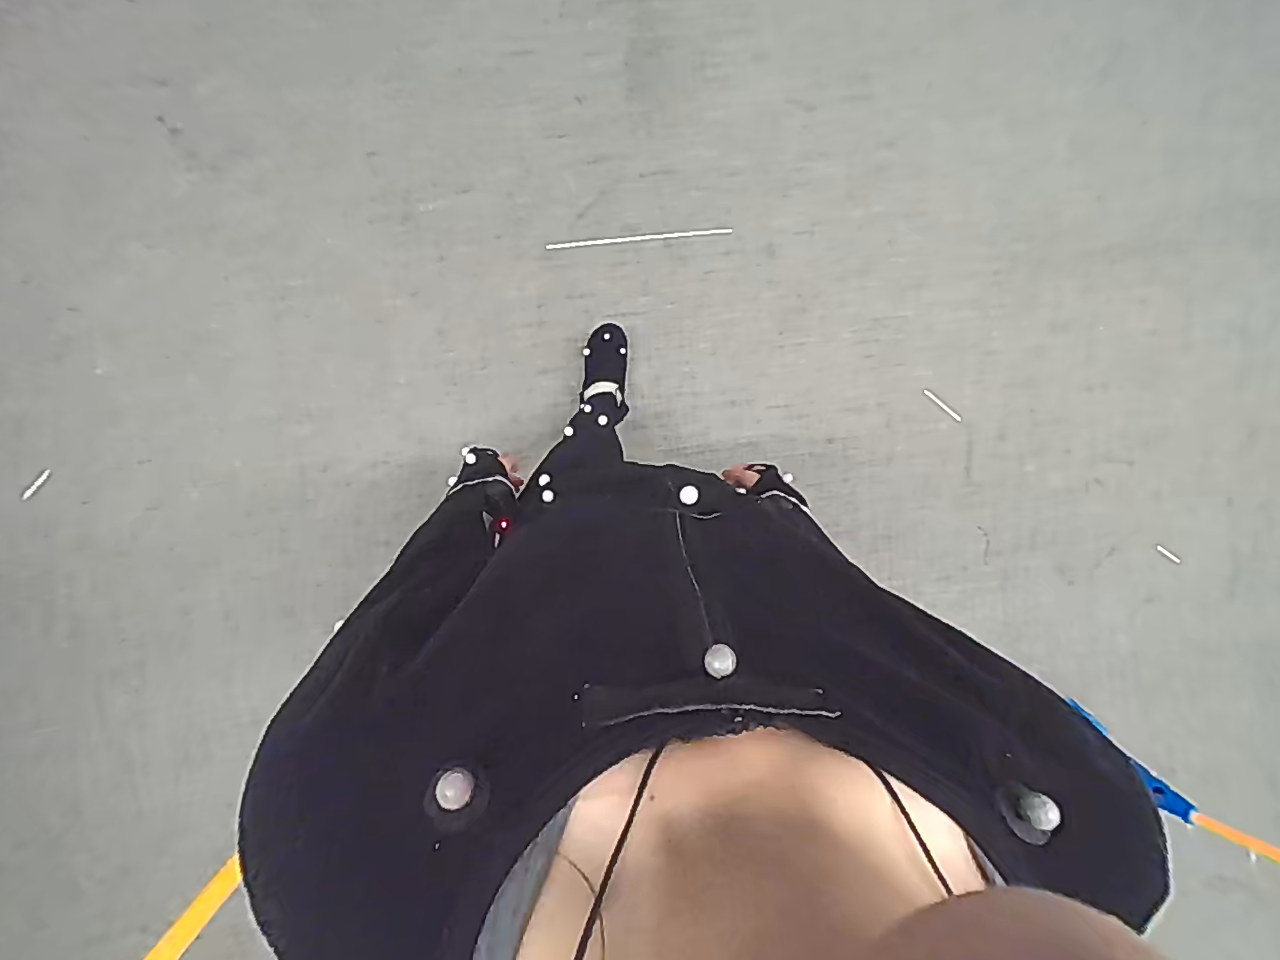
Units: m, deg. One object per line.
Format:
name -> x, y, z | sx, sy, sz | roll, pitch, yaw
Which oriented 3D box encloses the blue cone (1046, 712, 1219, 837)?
blue cone -> 1.365, 0.832, 1.493 | 0.192, 0.380, 0.193 | 38, 89, -6
